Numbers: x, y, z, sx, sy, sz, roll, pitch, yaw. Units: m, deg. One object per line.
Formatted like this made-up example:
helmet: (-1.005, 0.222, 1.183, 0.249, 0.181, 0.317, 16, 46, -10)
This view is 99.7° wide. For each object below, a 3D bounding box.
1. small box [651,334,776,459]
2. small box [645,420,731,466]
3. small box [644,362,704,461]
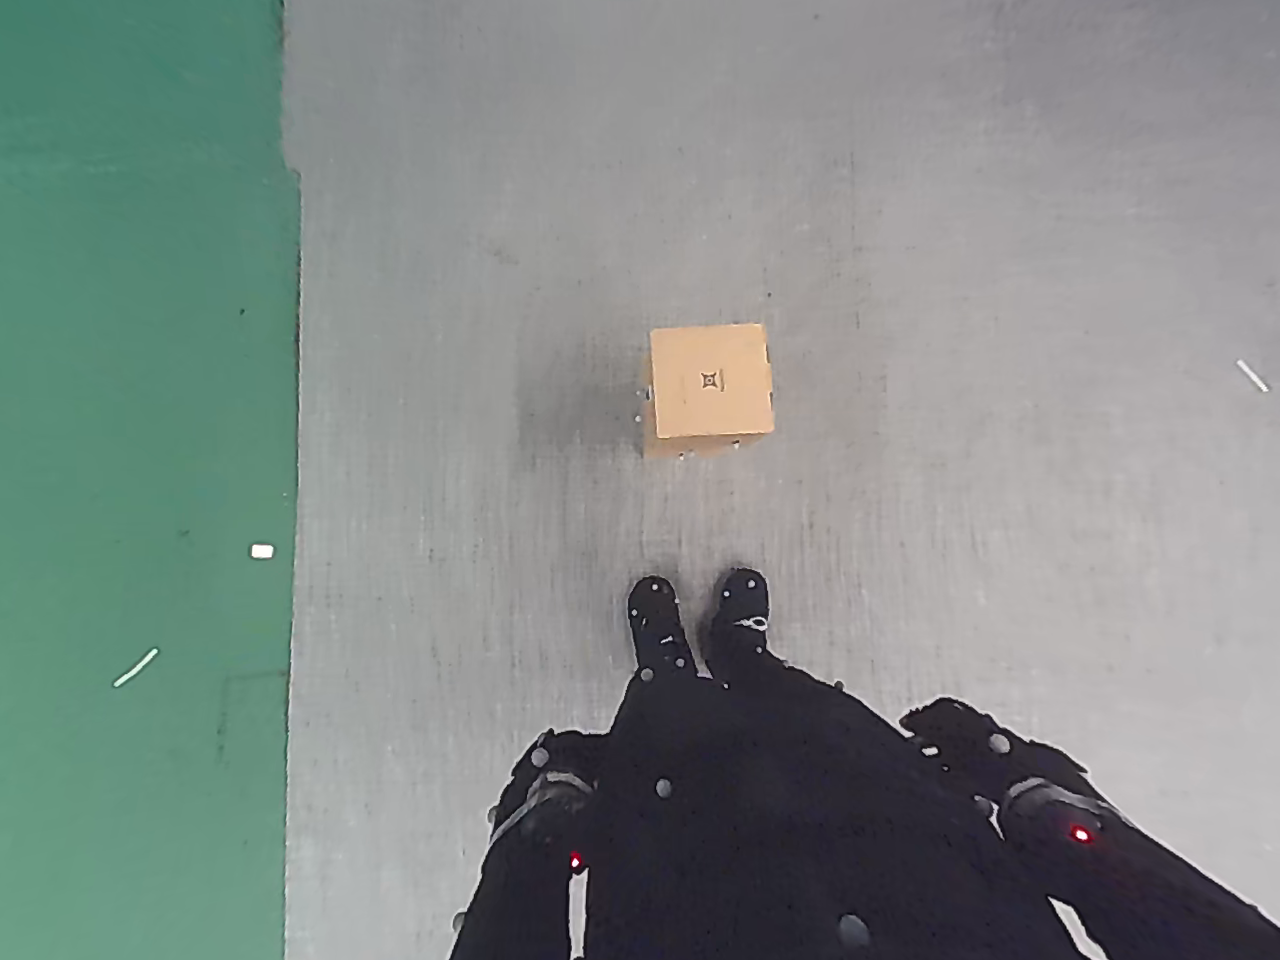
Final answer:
small box: (0.111, -0.128, 0.880, 0.179, 0.176, 0.168, -4, 85, 0)
small box: (0.102, -0.123, 1.206, 0.179, 0.176, 0.168, -2, 86, 0)
small box: (0.101, -0.130, 1.043, 0.179, 0.176, 0.168, -4, 86, -1)
